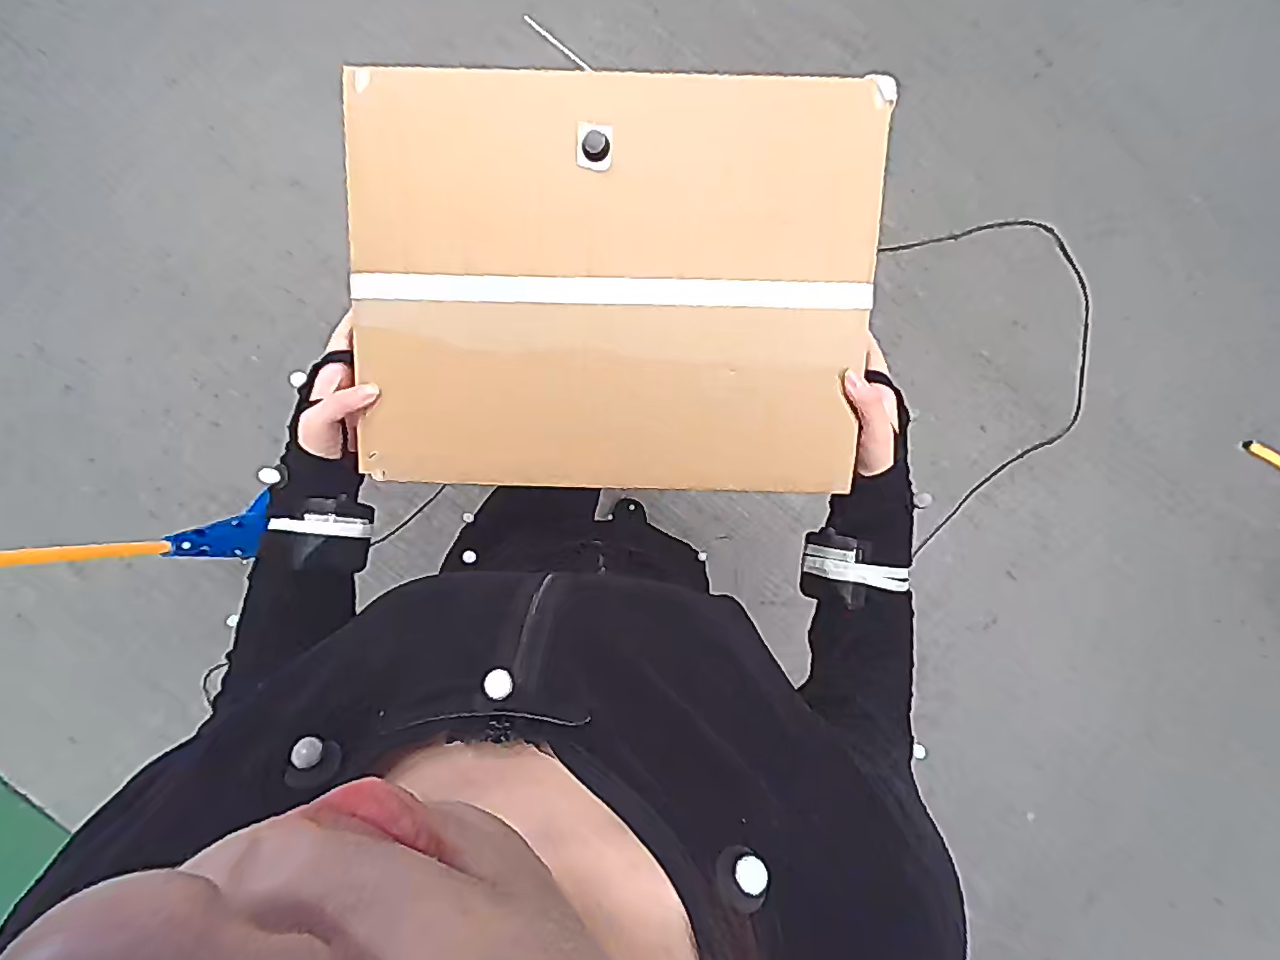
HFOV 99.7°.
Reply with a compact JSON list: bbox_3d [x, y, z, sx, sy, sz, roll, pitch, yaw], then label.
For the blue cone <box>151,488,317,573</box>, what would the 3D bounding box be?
[{"bbox_3d":[-0.987,0.133,1.287,0.193,0.380,0.192,37,89,0],"label":"blue cone"}]
